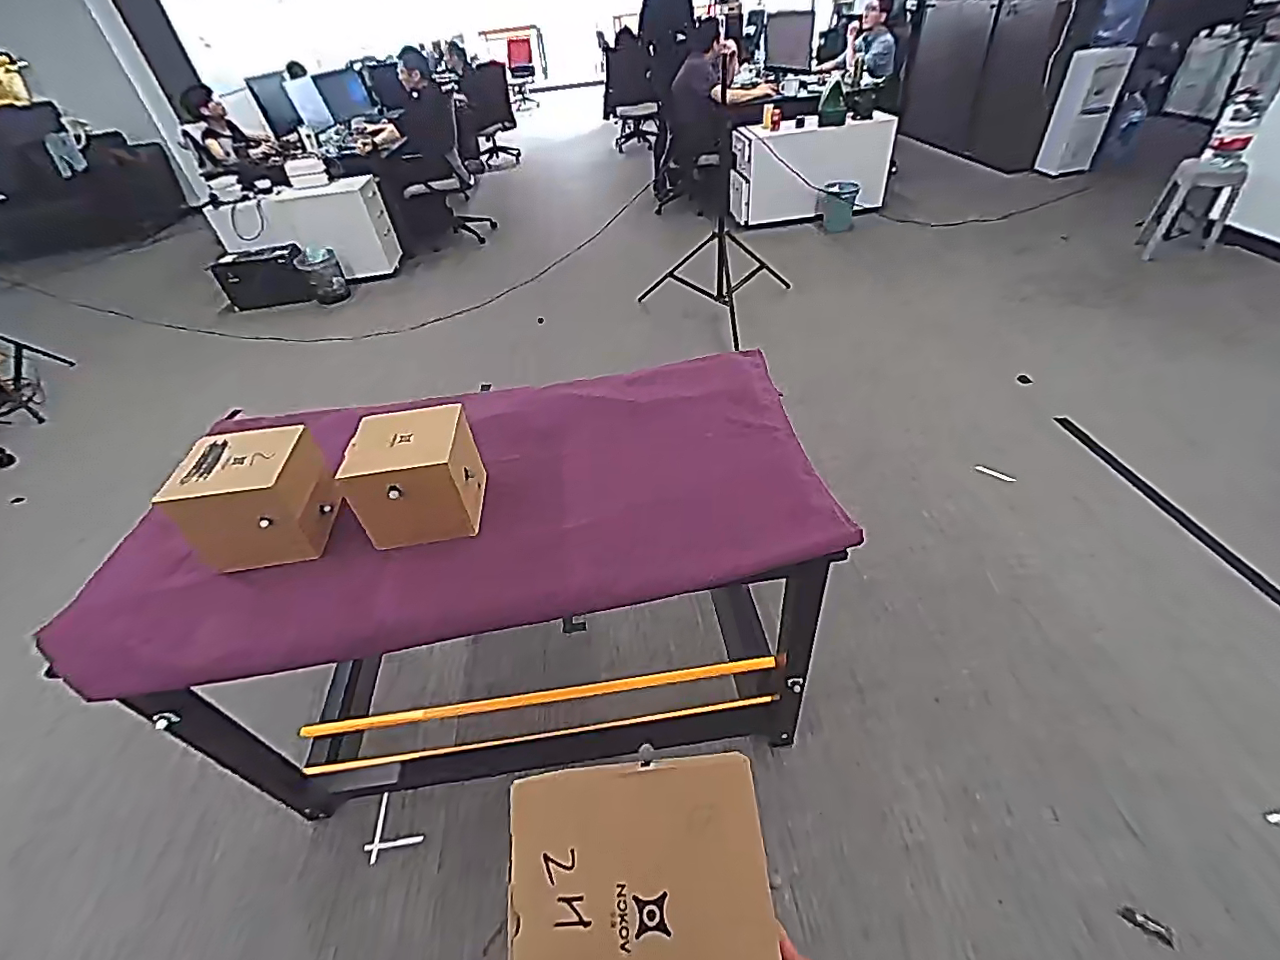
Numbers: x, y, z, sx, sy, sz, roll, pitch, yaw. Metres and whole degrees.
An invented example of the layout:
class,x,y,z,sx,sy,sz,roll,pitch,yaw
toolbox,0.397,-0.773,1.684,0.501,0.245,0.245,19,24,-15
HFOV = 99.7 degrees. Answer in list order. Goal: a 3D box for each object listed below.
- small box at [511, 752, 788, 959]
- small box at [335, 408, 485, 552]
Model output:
class,x,y,z,sx,sy,sz,roll,pitch,yaw
small box,0.010,0.311,0.421,0.179,0.176,0.168,-8,63,4
small box,-0.377,0.002,0.928,0.179,0.176,0.168,-9,41,-1
